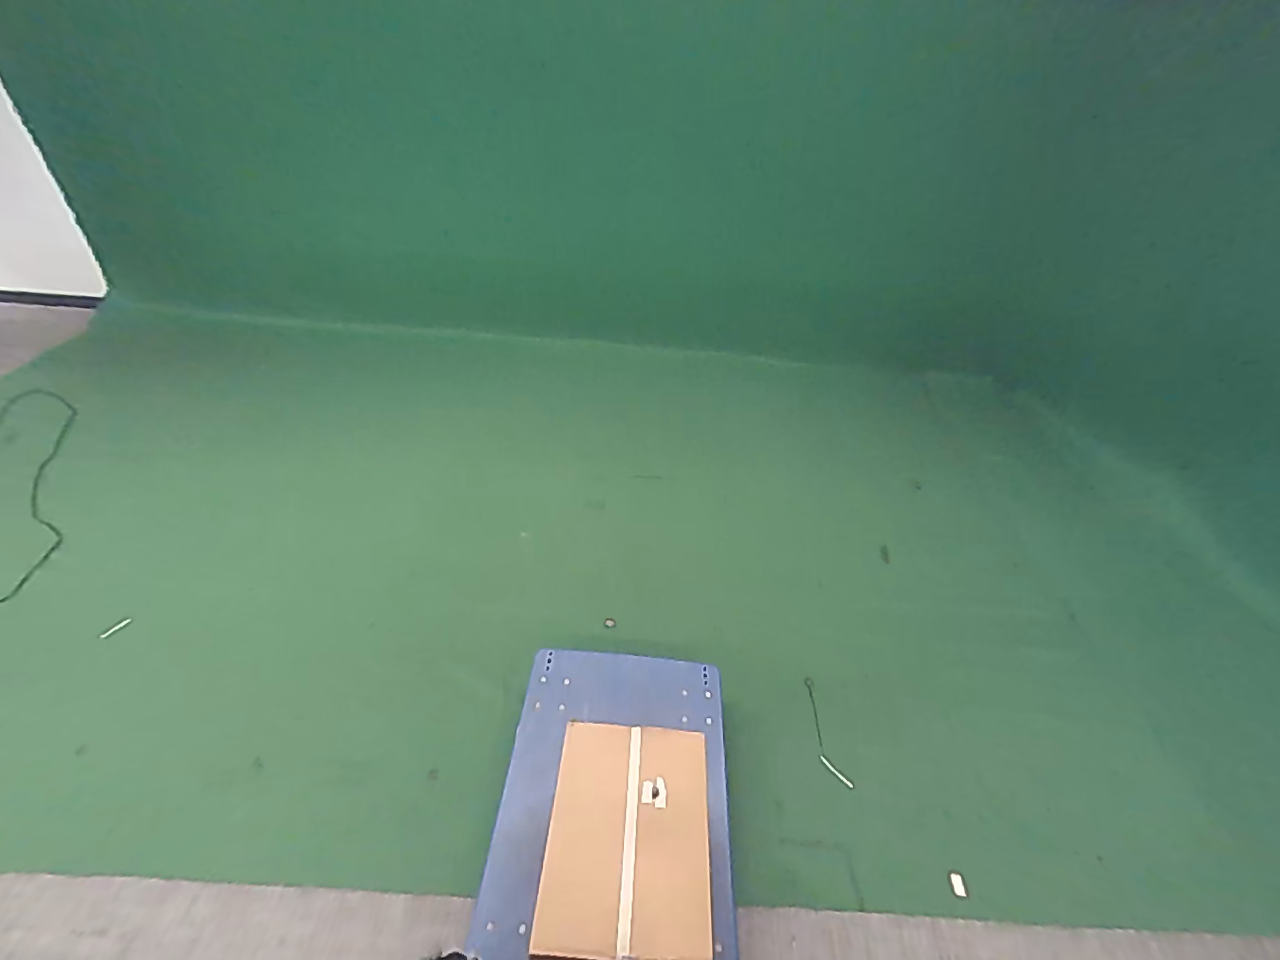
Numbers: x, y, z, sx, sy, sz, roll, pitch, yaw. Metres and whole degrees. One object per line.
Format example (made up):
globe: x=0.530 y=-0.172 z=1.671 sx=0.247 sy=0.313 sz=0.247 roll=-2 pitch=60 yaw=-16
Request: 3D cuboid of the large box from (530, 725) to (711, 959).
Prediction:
large box: x=-0.037 y=0.800 z=1.149 sx=0.320 sy=0.320 sz=0.408 roll=6 pitch=38 yaw=-1
